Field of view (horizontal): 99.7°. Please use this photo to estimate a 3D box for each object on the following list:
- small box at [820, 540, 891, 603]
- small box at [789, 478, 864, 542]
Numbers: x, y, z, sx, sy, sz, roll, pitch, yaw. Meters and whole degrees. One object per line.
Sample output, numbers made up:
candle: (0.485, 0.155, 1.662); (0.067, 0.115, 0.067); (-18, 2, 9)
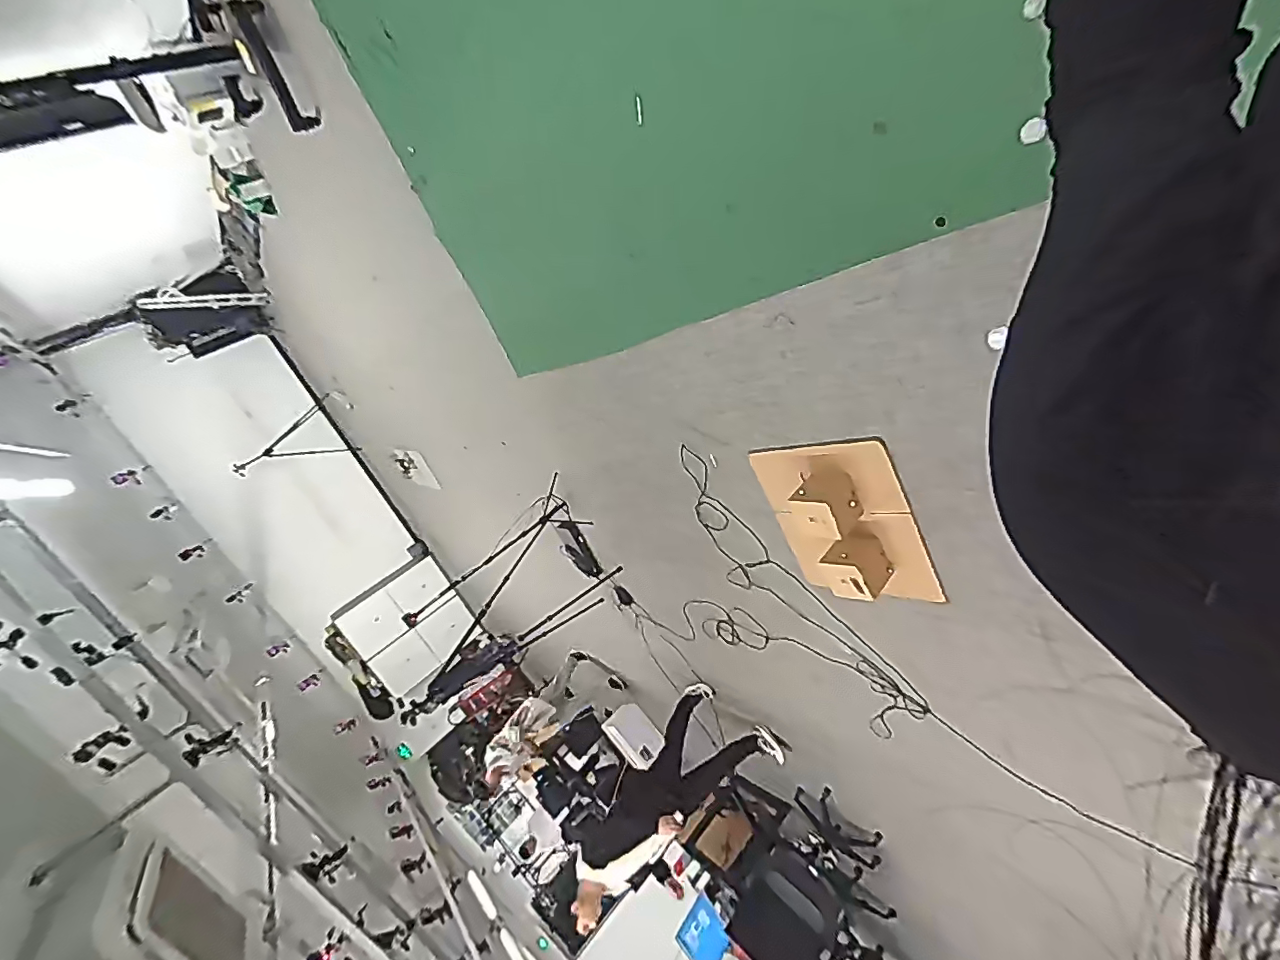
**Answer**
small box: (0.824, 0.341, 2.047); (0.179, 0.176, 0.168); (-7, 117, 57)
small box: (0.686, 0.106, 1.984); (0.179, 0.176, 0.168); (2, 125, 53)
